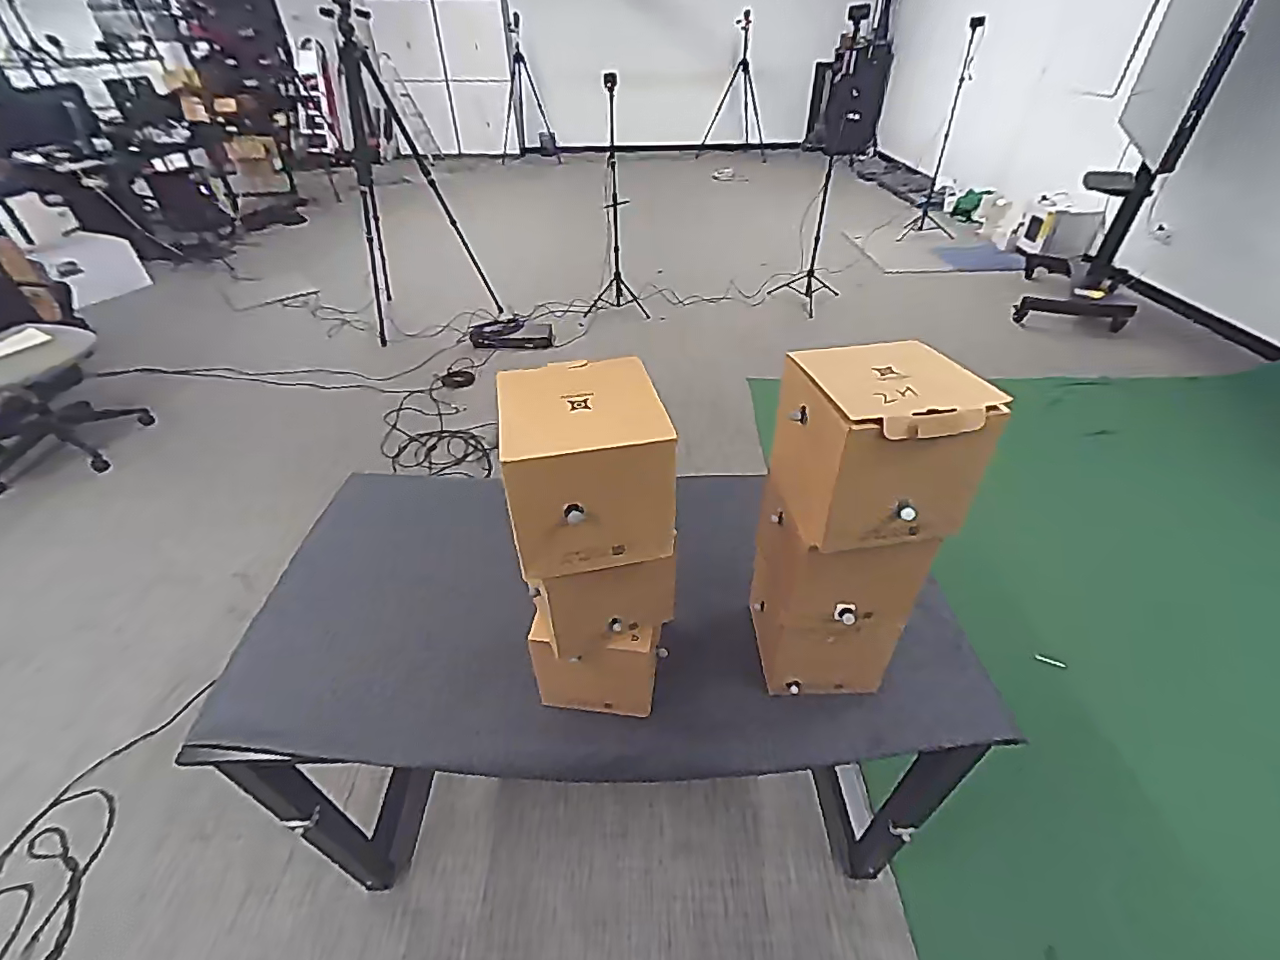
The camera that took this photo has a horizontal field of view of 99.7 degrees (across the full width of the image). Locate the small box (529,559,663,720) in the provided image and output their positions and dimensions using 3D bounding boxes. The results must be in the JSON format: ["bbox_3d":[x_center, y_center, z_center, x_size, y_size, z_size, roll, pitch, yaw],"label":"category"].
[{"bbox_3d":[-0.057,0.231,0.820,0.168,0.176,0.179,4,38,7],"label":"small box"}]

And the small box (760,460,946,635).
[{"bbox_3d":[0.268,0.084,0.732,0.168,0.176,0.179,-4,39,-2],"label":"small box"}]

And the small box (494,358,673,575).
[{"bbox_3d":[-0.063,-0.013,0.600,0.168,0.176,0.179,-9,40,-10],"label":"small box"}]

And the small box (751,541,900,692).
[{"bbox_3d":[0.271,0.210,0.835,0.168,0.176,0.179,-1,37,0],"label":"small box"}]

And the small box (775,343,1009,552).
[{"bbox_3d":[0.266,-0.041,0.624,0.168,0.176,0.179,-7,38,-4],"label":"small box"}]
